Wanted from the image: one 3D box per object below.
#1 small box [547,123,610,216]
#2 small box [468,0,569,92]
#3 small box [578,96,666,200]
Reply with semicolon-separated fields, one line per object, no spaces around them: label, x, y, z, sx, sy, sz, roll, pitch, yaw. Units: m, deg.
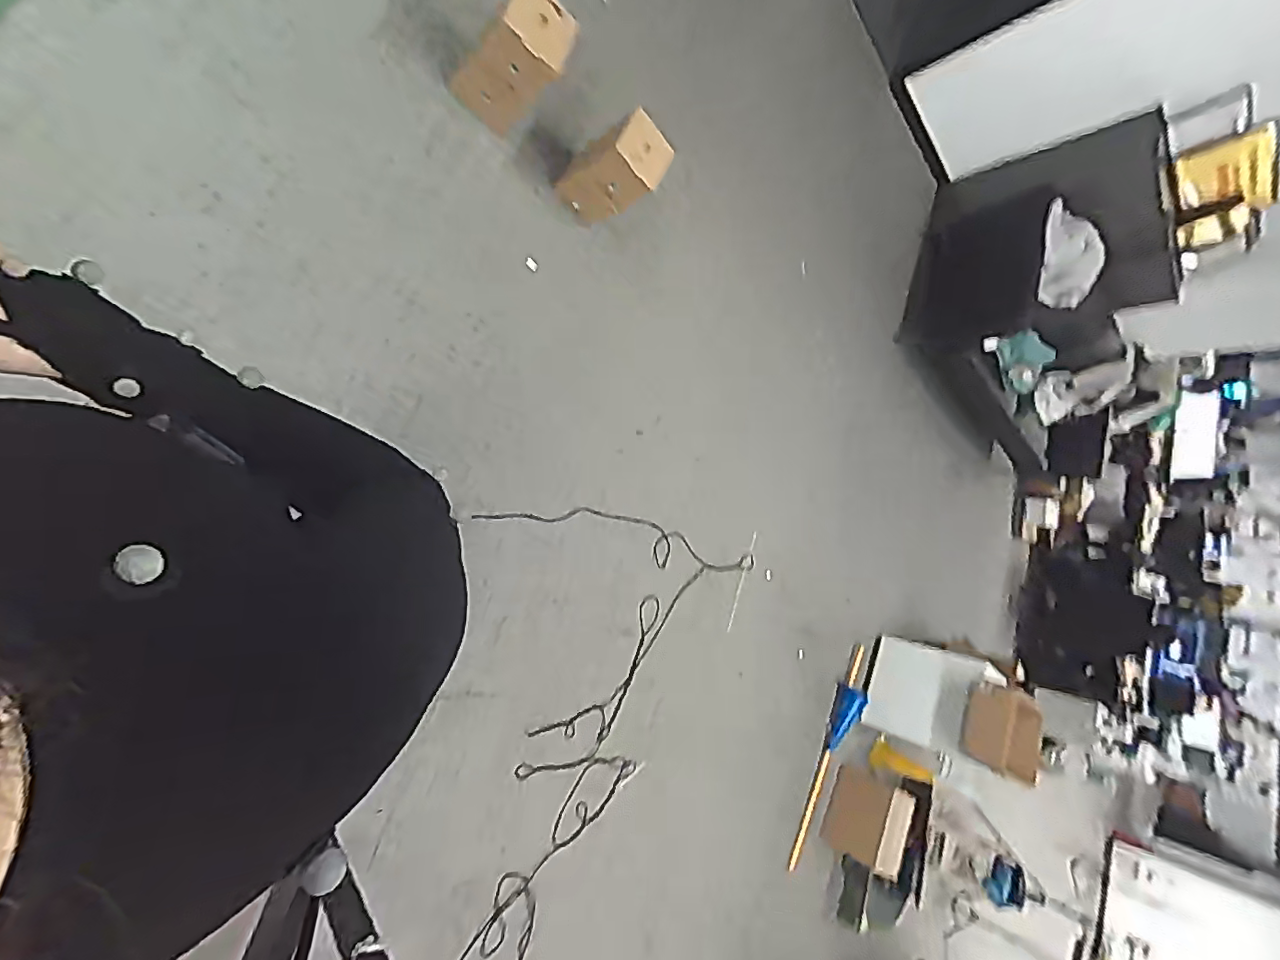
small box;-0.170;-0.992;1.738;0.168;0.176;0.179;38;69;-37
small box;-0.315;-1.152;1.381;0.168;0.176;0.179;27;75;-39
small box;-0.058;-0.985;1.617;0.168;0.176;0.179;35;70;-37
